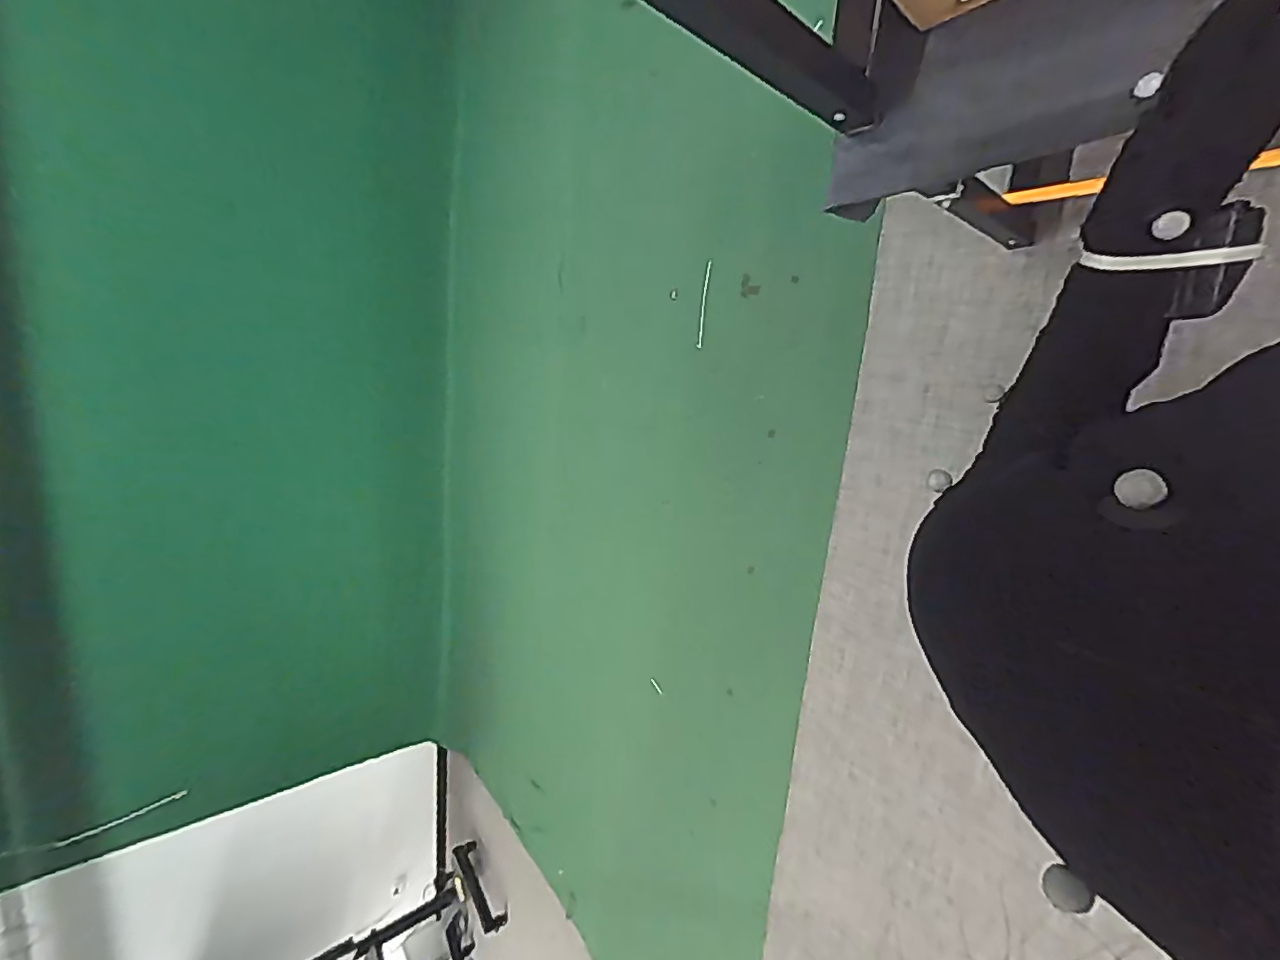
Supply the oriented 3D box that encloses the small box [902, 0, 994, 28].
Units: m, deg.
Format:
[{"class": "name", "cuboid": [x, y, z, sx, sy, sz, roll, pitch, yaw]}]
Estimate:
[{"class": "small box", "cuboid": [0.375, -0.671, 0.604, 0.168, 0.176, 0.179, 15, 104, 49]}]
